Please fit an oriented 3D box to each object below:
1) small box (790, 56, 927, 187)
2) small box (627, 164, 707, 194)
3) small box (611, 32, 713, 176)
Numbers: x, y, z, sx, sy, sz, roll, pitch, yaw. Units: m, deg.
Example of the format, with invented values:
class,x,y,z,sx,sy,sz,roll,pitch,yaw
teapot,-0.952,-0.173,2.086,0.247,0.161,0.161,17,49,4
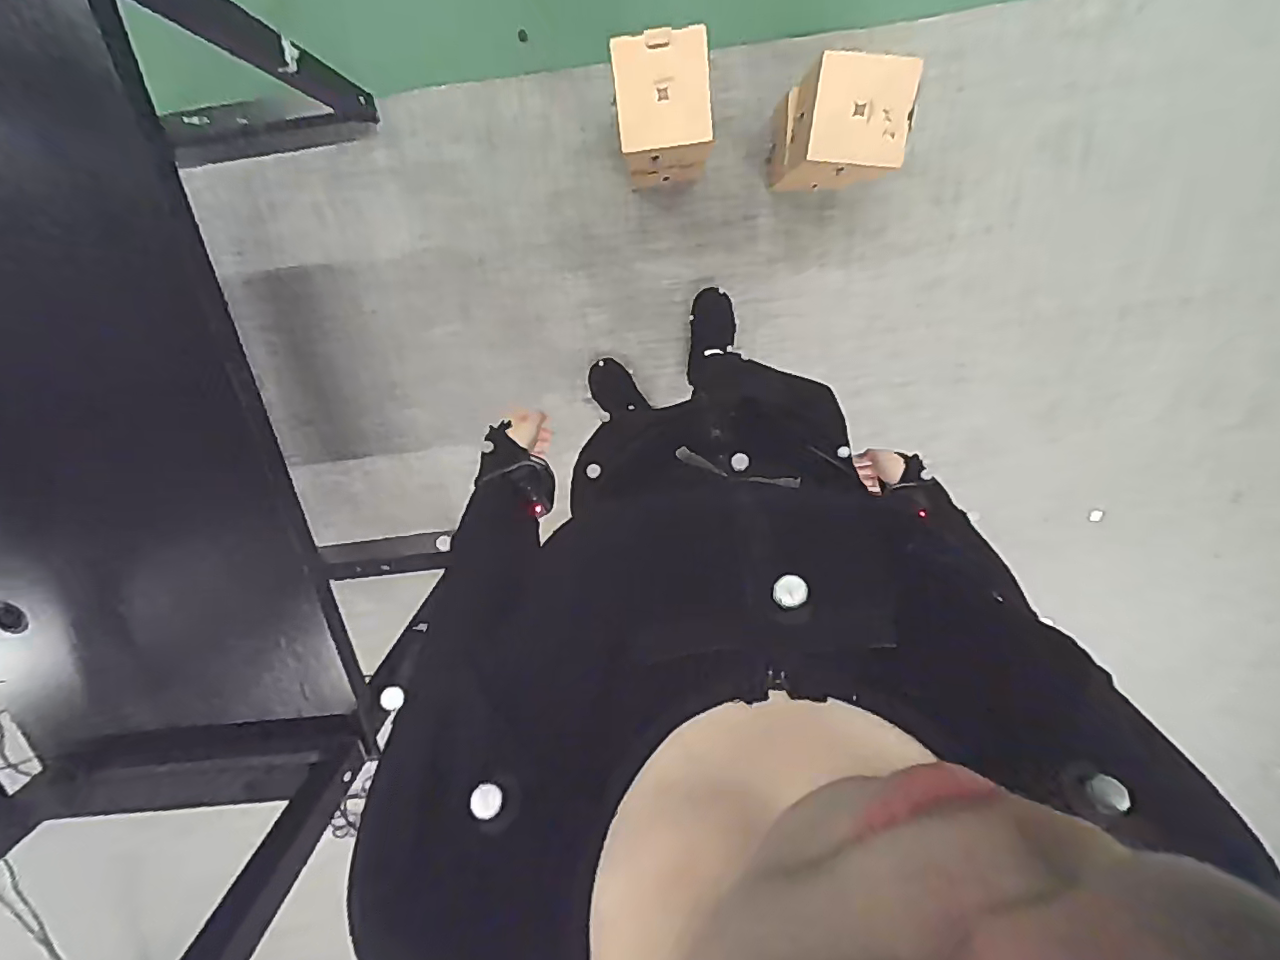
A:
class,x,y,z,sx,sy,sz,roll,pitch,yaw
small box,0.392,-0.656,1.010,0.179,0.176,0.168,4,111,-1
small box,0.051,-0.731,1.166,0.168,0.176,0.179,-8,109,4
small box,0.045,-0.685,1.010,0.168,0.176,0.179,-6,108,4
